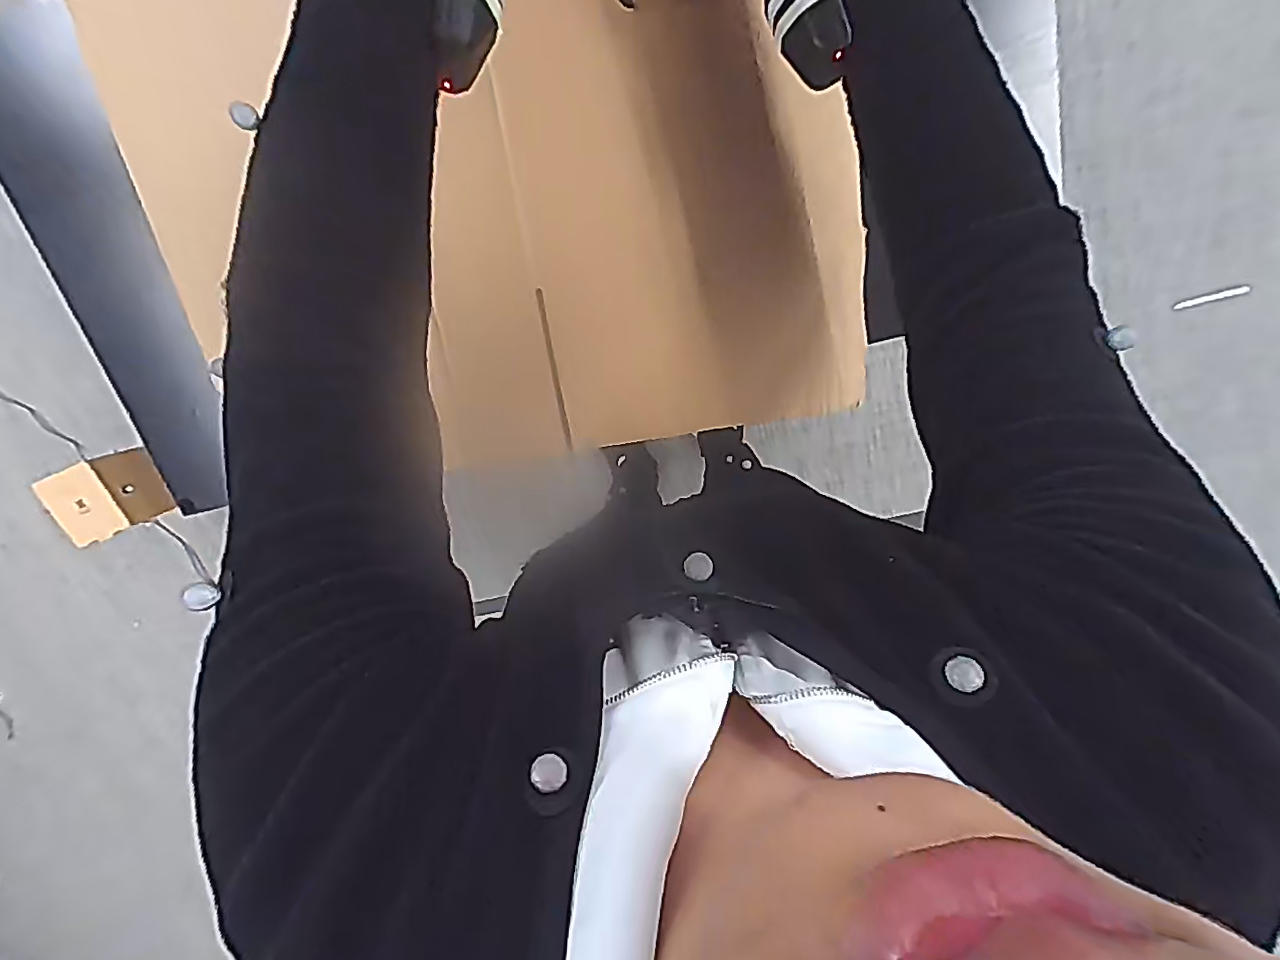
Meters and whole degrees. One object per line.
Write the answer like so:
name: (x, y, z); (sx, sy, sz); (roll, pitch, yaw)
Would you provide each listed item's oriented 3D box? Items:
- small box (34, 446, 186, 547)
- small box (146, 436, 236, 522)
small box: (-1.292, 0.034, 1.334); (0.168, 0.176, 0.179); (-20, 105, 9)
small box: (-1.279, -0.011, 1.489); (0.168, 0.176, 0.179); (-17, 107, 9)
